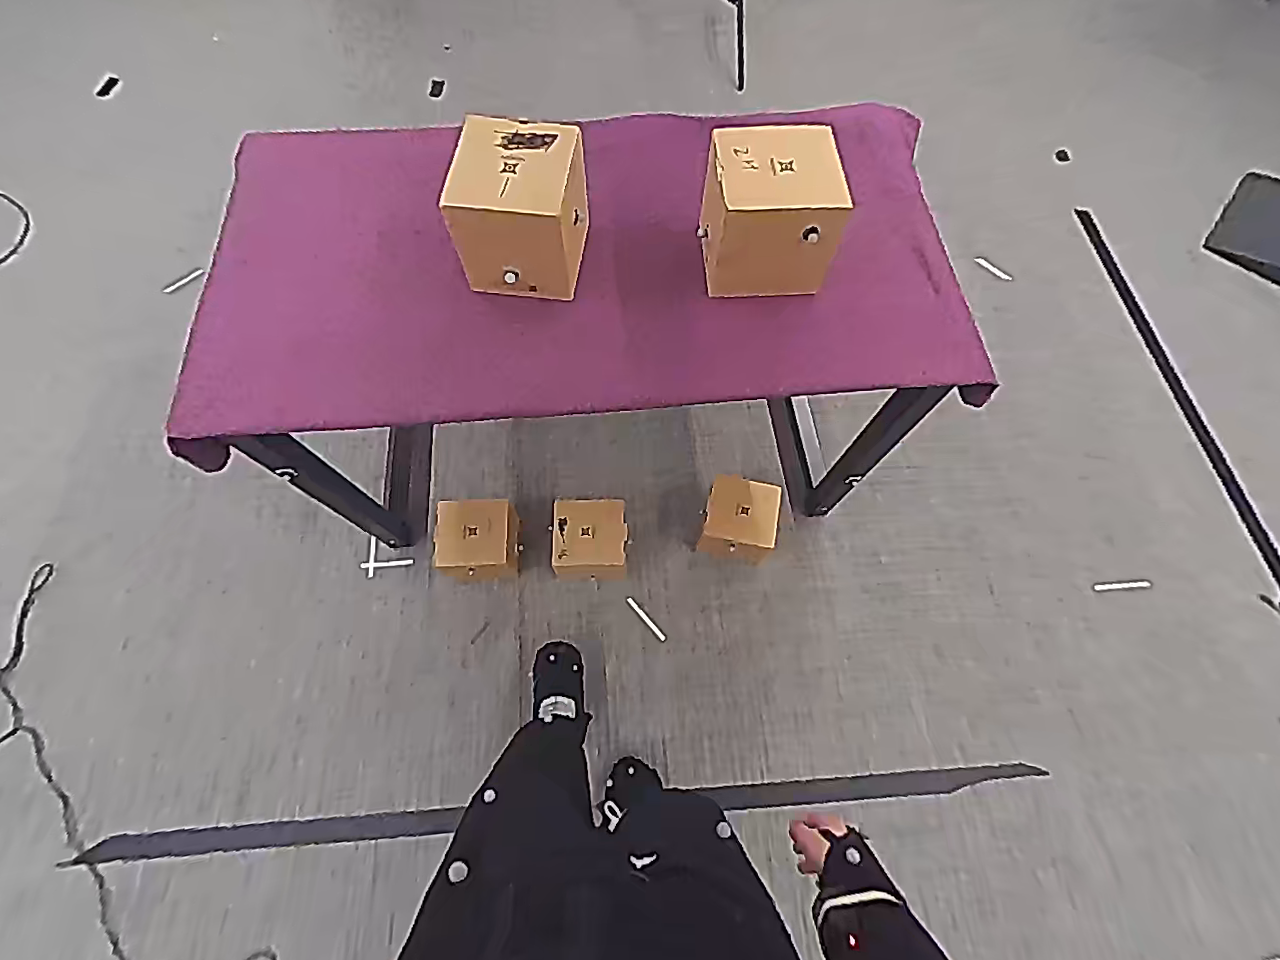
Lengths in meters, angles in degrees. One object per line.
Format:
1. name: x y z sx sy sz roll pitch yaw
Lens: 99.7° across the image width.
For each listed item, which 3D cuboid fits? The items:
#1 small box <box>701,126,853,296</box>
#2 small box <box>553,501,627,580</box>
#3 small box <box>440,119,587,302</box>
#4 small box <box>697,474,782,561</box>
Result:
1. small box: 0.194 -0.400 0.820 0.179 0.176 0.168 -3 67 -1
2. small box: -0.122 0.156 1.378 0.179 0.176 0.168 0 68 -1
3. small box: -0.176 -0.400 0.816 0.168 0.176 0.179 6 69 2
4. small box: 0.254 0.104 1.405 0.179 0.176 0.168 11 69 5
